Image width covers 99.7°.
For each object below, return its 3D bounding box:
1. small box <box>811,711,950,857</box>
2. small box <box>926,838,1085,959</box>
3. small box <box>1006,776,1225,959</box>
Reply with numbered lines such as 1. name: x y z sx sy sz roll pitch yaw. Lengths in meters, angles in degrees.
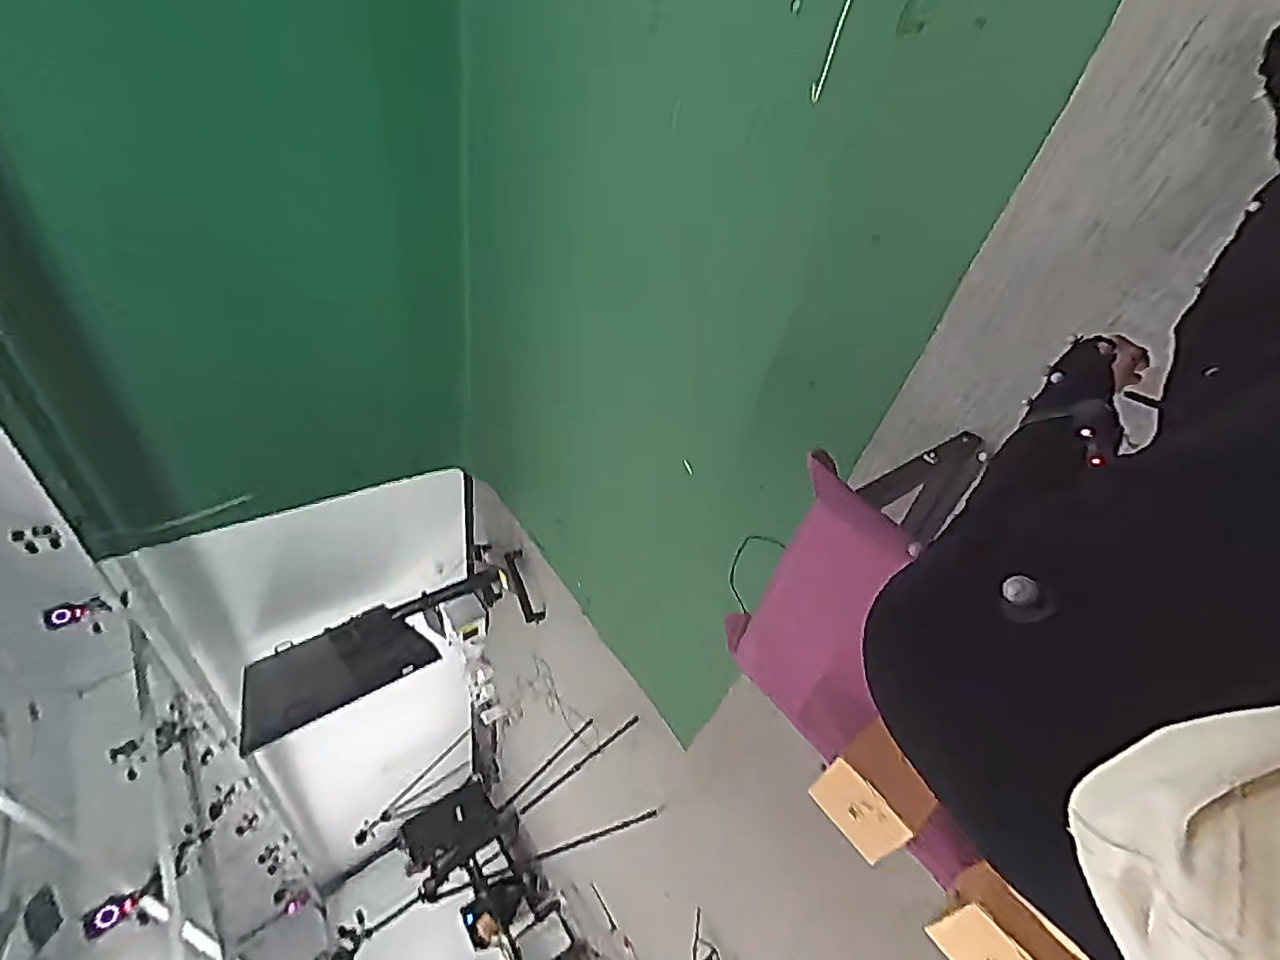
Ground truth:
1. small box: 0.494 0.619 1.112 0.168 0.176 0.179 45 137 32
2. small box: 0.662 0.790 0.963 0.168 0.176 0.179 44 136 34
3. small box: 0.704 0.589 0.805 0.168 0.176 0.179 44 137 33
